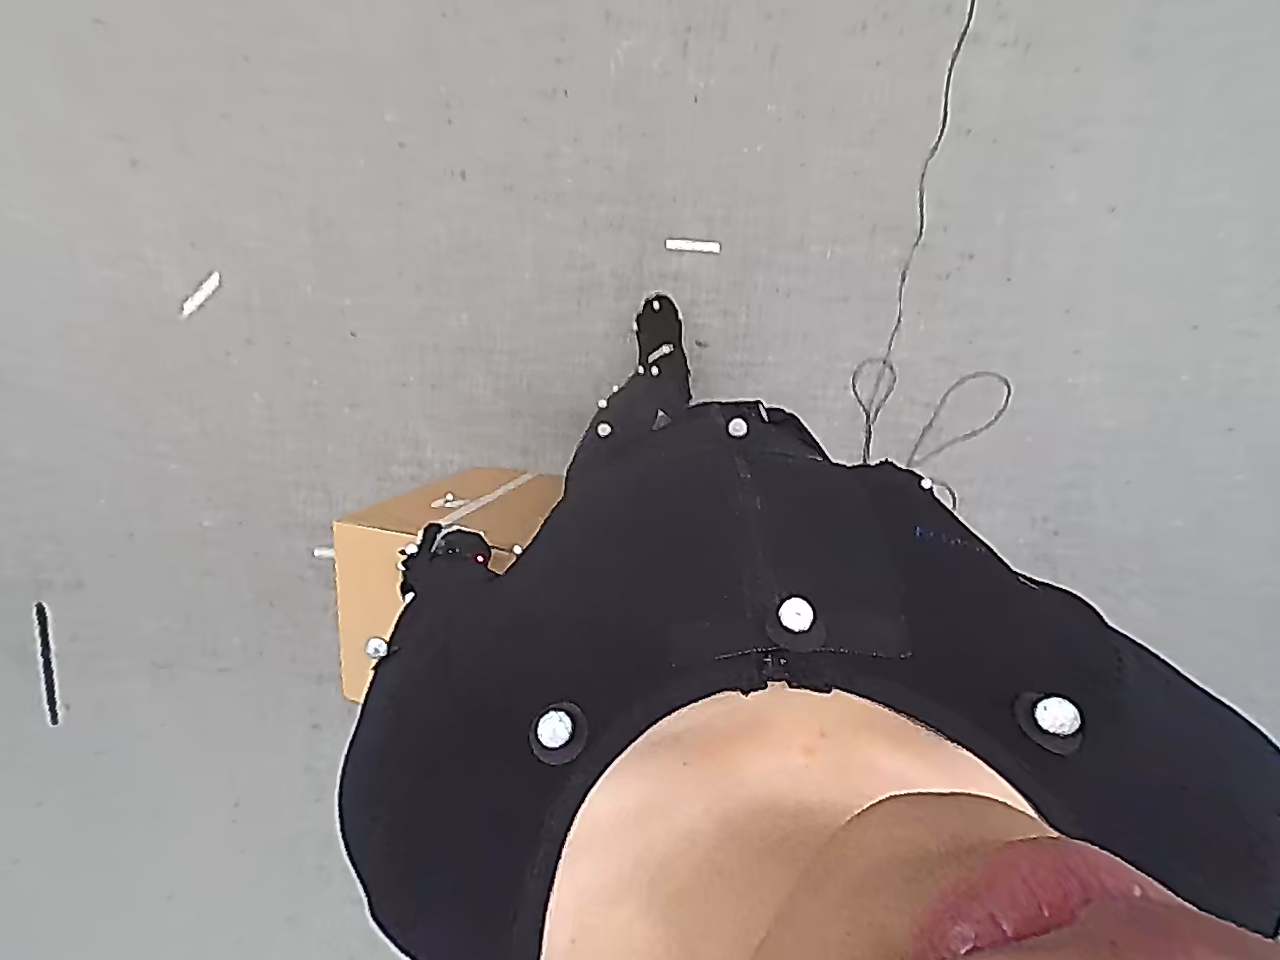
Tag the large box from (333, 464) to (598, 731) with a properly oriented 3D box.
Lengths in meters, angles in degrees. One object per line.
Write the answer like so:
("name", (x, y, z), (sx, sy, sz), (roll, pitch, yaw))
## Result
("large box", (-0.288, 0.178, 1.006), (0.320, 0.408, 0.320), (7, 105, 11))
